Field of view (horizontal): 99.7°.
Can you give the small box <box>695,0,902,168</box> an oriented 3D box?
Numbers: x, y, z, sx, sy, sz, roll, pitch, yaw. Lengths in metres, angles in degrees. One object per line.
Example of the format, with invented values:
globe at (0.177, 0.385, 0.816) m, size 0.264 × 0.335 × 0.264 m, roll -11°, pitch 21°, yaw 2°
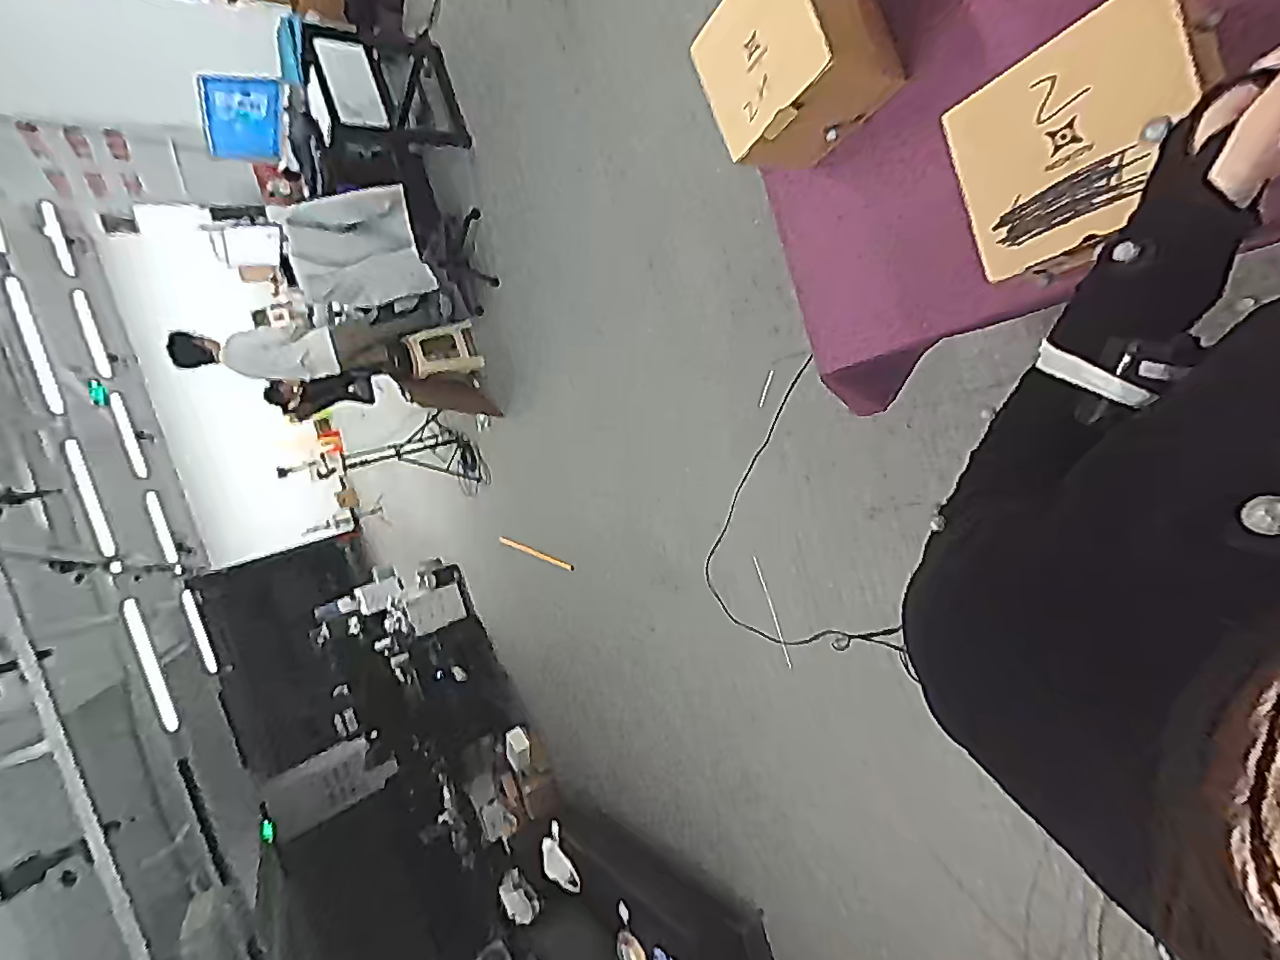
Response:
small box at (0.208, -0.545, 0.716) m, size 0.168 × 0.176 × 0.179 m, roll -23°, pitch 87°, yaw 56°
